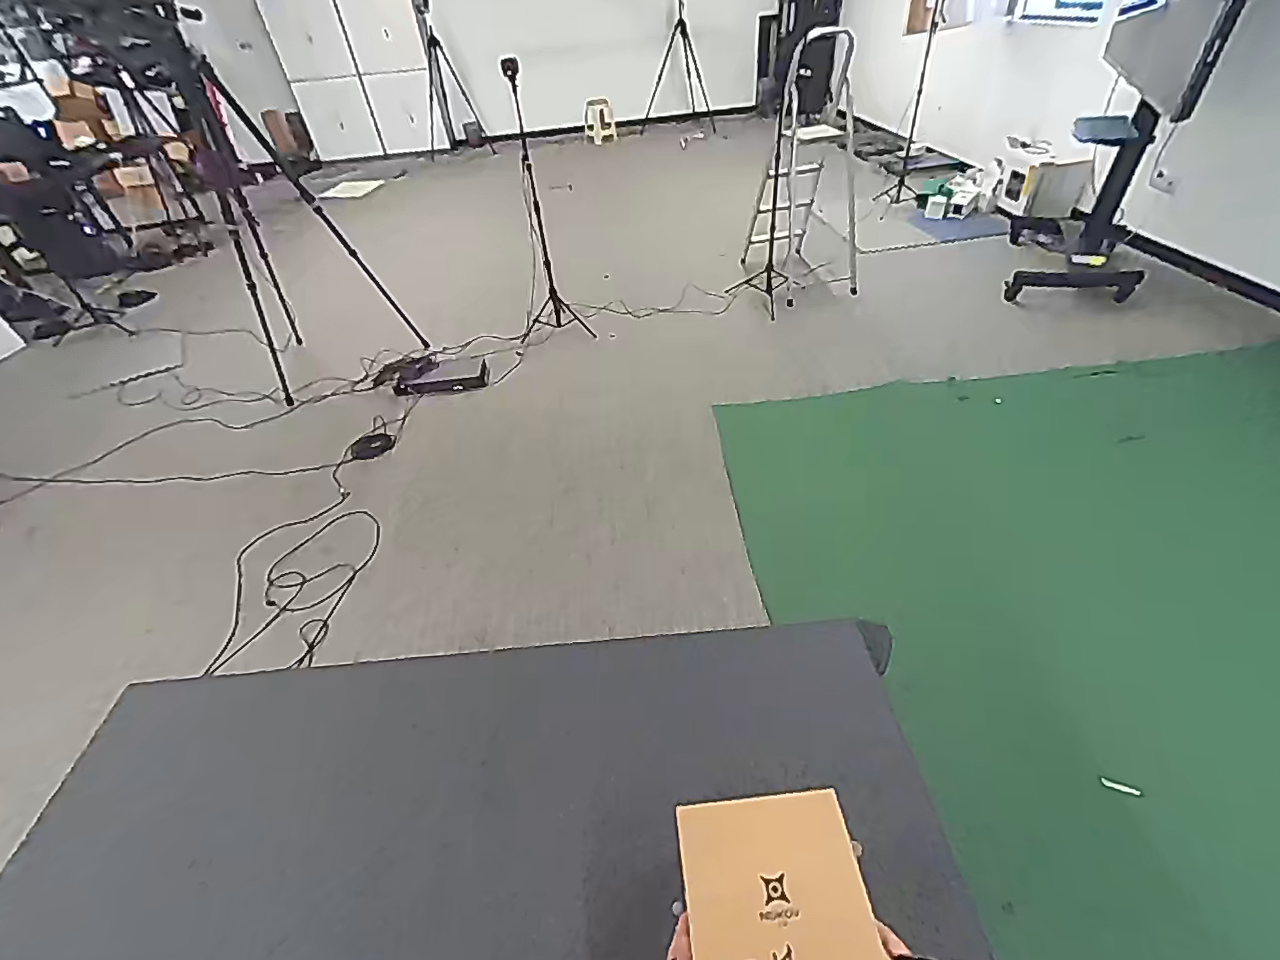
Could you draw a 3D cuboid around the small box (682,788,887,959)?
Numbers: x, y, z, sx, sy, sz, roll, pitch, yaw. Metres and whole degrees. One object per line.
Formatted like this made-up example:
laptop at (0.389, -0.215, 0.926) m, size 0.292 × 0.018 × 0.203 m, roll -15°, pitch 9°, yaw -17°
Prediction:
small box at (0.137, 0.446, 0.551) m, size 0.168 × 0.176 × 0.179 m, roll -9°, pitch 41°, yaw 3°
